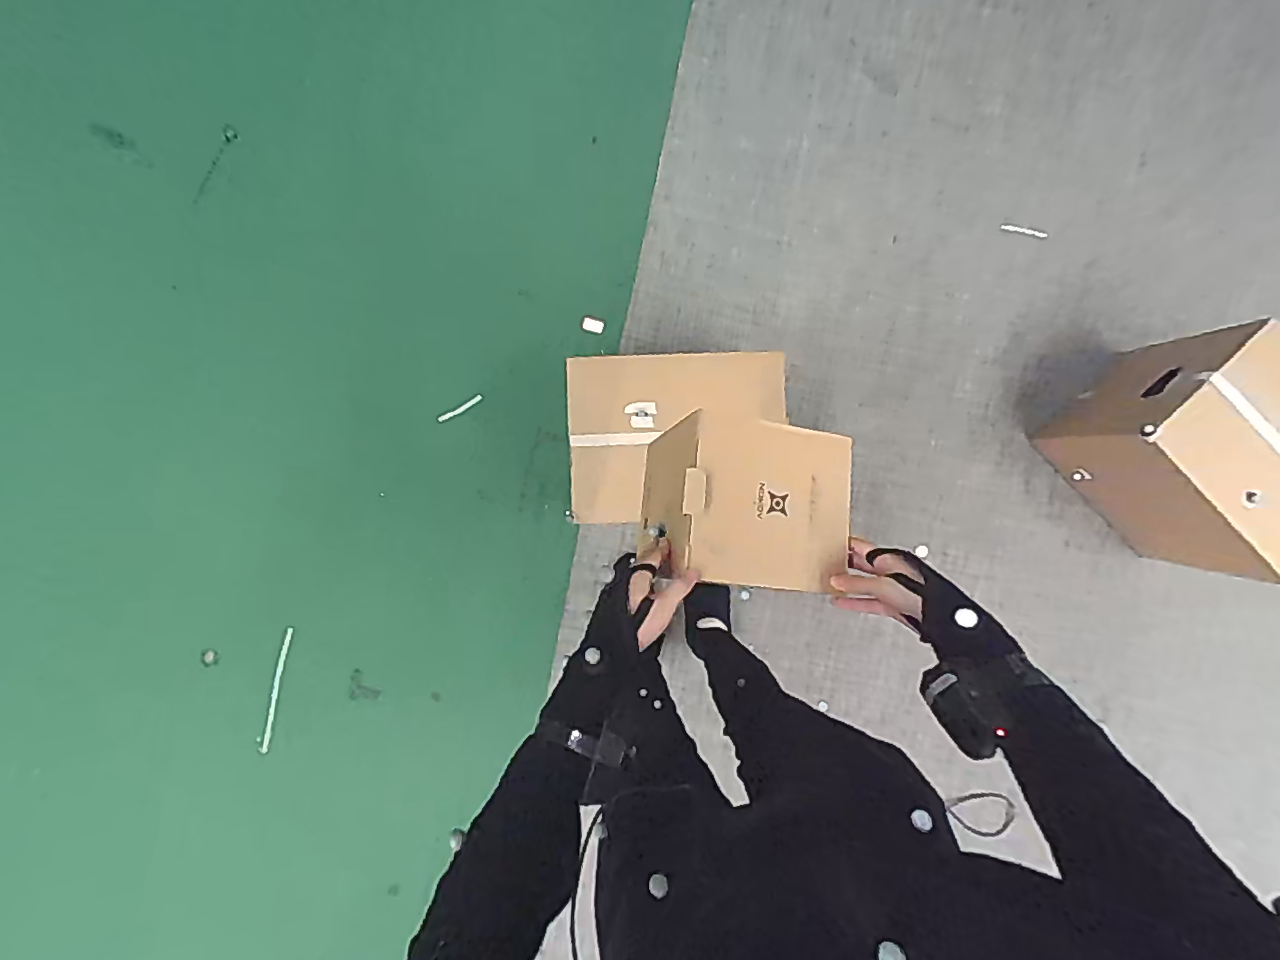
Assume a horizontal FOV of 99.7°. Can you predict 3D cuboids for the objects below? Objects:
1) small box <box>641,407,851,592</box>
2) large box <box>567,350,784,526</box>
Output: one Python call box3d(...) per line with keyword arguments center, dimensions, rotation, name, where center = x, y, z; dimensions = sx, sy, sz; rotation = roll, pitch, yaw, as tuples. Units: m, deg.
box3d(center=(0.108, 0.032, 0.606), dimensions=(0.179, 0.176, 0.168), rotation=(9, 79, -15), name="small box")
box3d(center=(0.076, -0.081, 1.150), dimensions=(0.408, 0.320, 0.320), rotation=(-2, 91, 2), name="large box")
